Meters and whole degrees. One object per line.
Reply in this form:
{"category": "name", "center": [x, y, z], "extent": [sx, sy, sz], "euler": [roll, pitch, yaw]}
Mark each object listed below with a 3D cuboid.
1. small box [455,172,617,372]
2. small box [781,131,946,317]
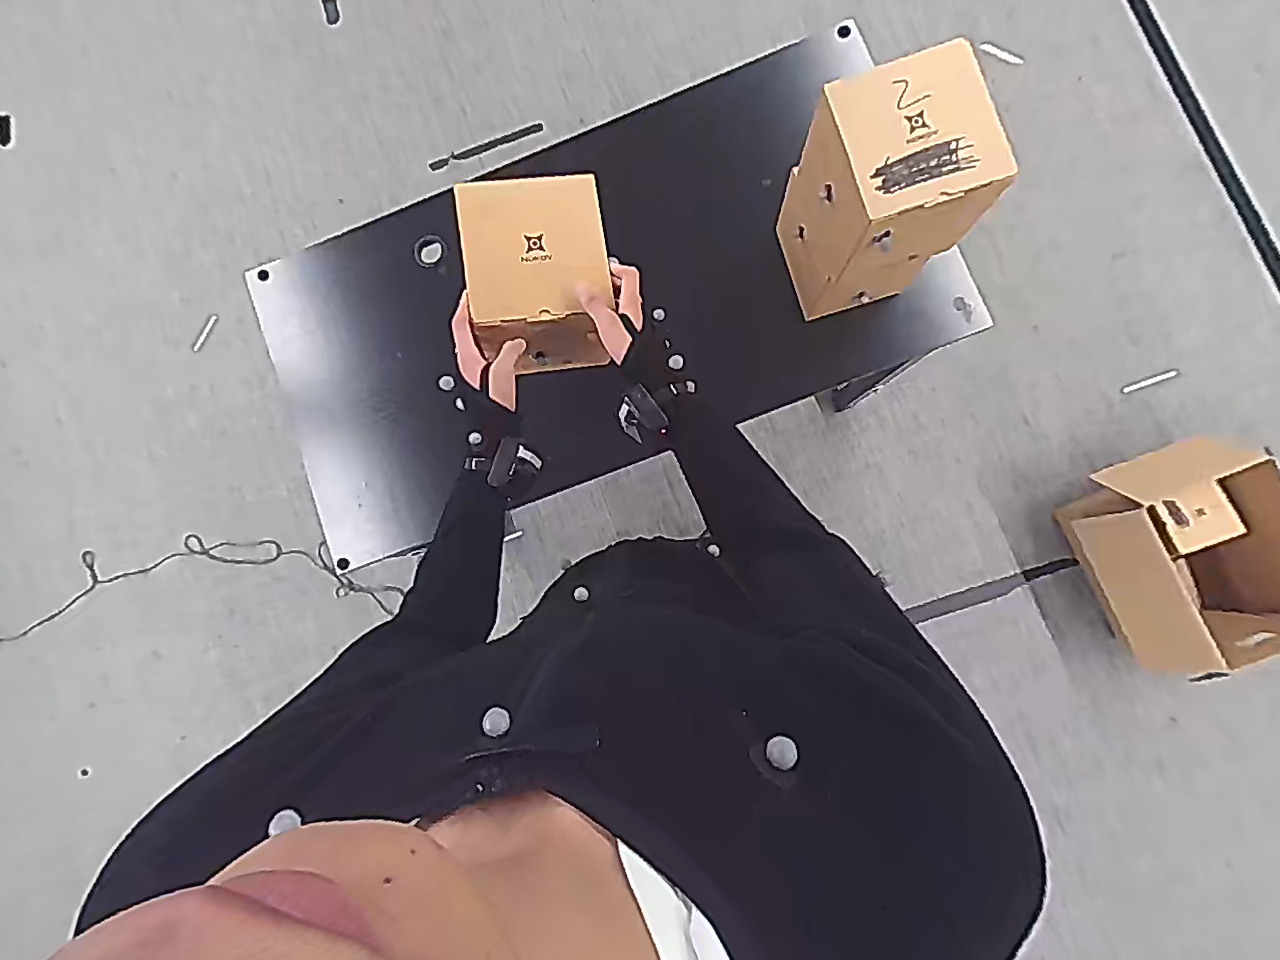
{"category": "small box", "center": [-0.129, -0.255, 0.690], "extent": [0.168, 0.176, 0.179], "euler": [-8, 83, -8]}
{"category": "small box", "center": [0.328, -0.381, 0.834], "extent": [0.168, 0.176, 0.179], "euler": [-16, 85, 5]}
